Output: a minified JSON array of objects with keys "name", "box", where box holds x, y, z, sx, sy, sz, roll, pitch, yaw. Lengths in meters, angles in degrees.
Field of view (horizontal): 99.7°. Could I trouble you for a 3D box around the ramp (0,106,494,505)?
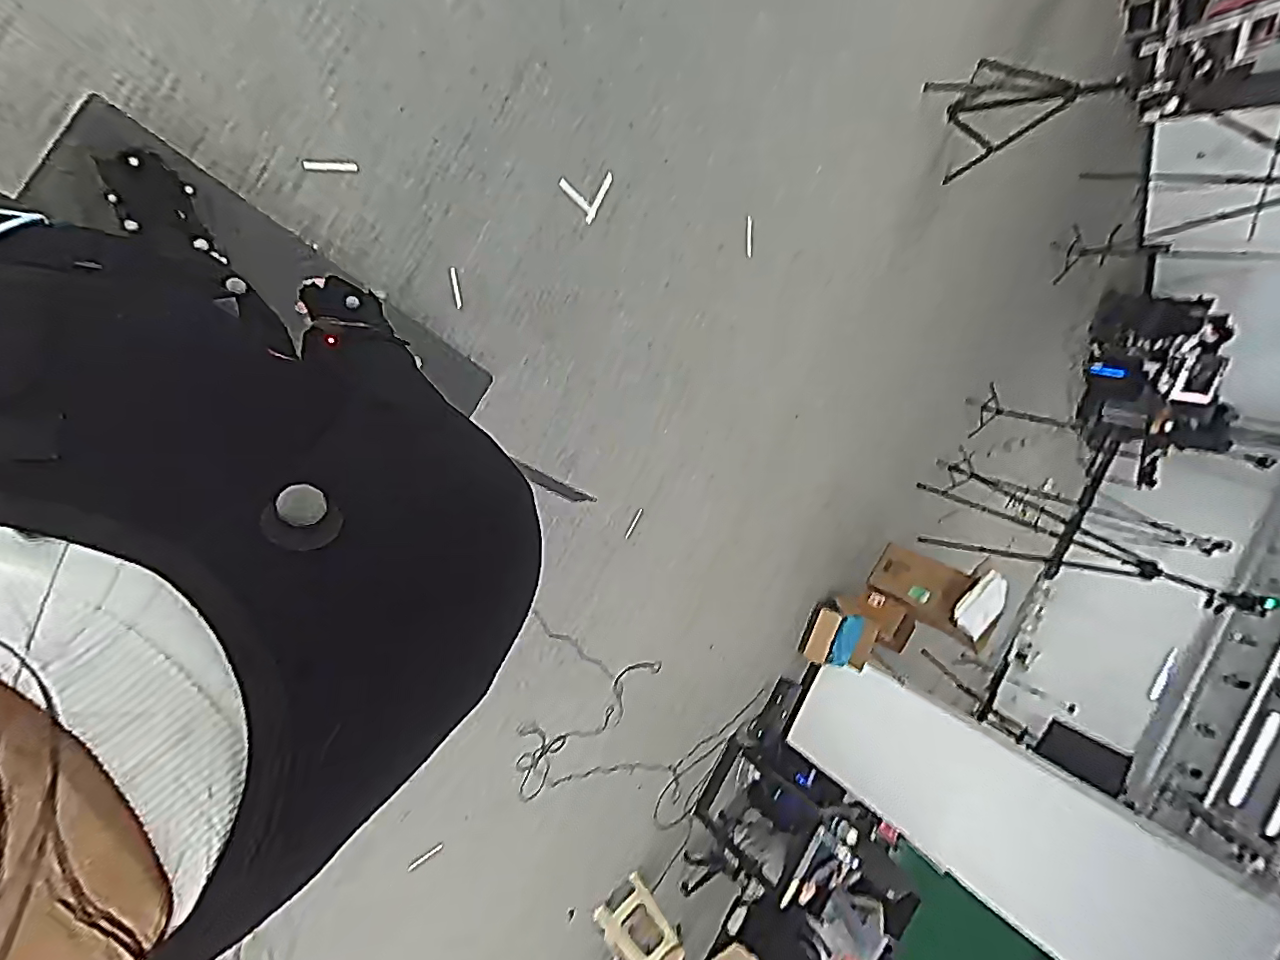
[{"name":"ramp","box":[-0.815,-0.286,1.321,0.991,0.206,0.509,29,86,-46]}]
